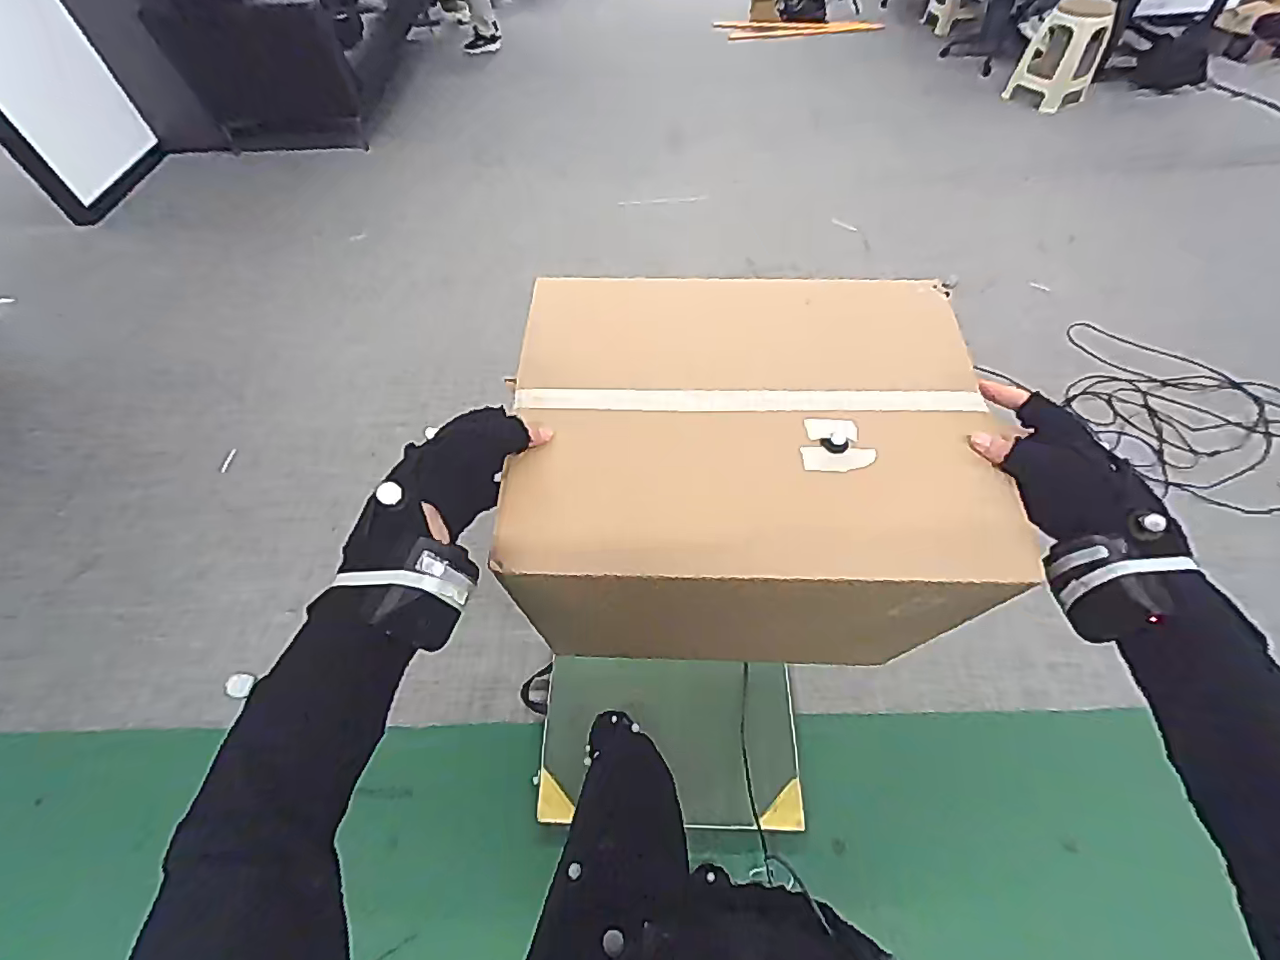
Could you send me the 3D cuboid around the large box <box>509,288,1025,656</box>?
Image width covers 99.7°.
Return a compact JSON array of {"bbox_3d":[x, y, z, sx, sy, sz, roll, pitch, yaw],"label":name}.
[{"bbox_3d":[0.095,0.009,0.611,0.408,0.320,0.320,1,61,0],"label":"large box"}]
